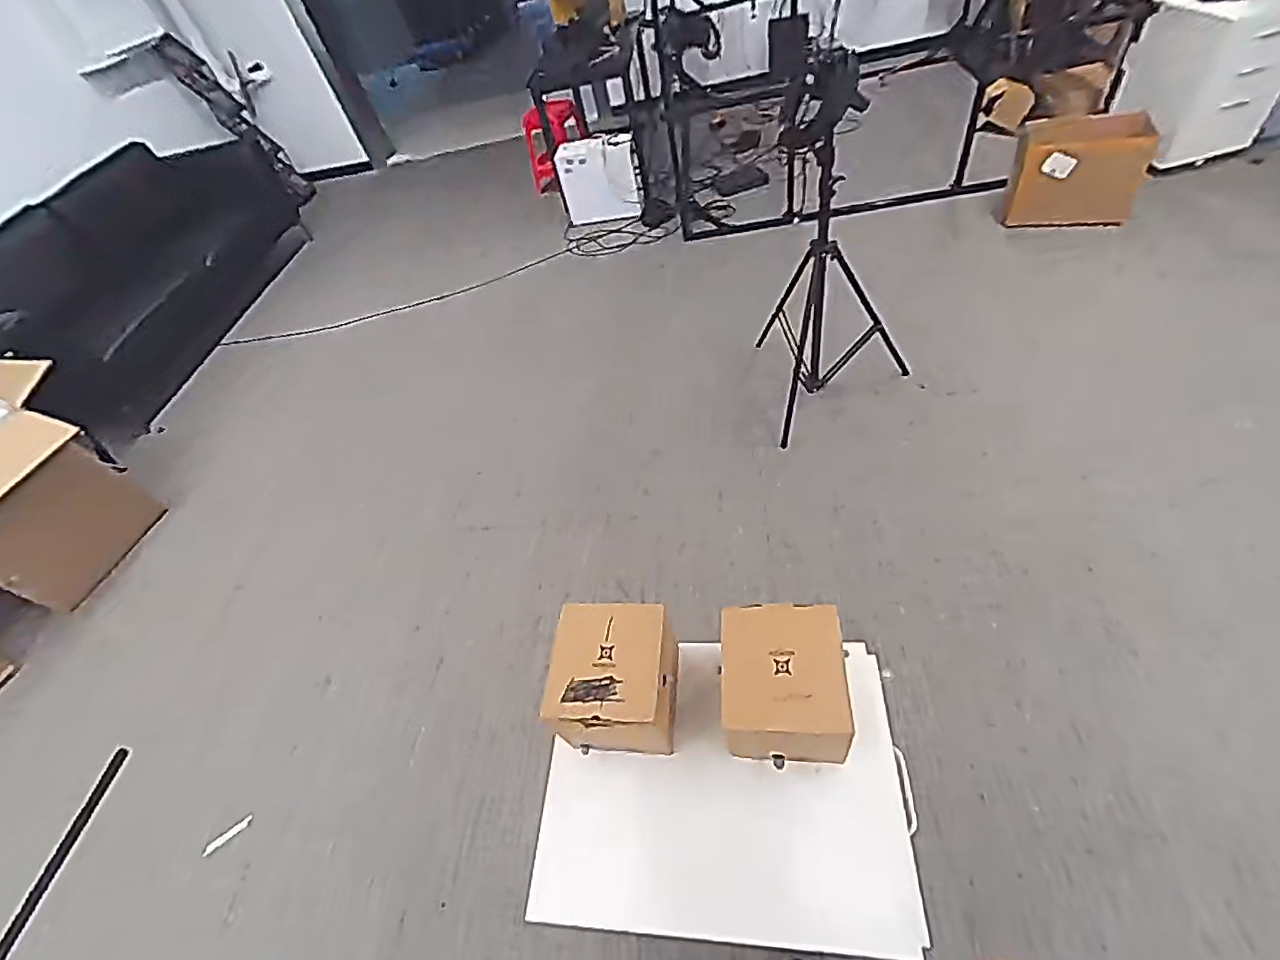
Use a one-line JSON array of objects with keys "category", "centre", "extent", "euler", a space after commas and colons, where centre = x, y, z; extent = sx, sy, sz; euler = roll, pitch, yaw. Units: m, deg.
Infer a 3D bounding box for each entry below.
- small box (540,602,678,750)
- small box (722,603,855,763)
[{"category": "small box", "centre": [-0.036, 0.307, 0.842], "extent": [0.168, 0.176, 0.179], "euler": [-2, 50, 12]}, {"category": "small box", "centre": [0.209, 0.297, 0.791], "extent": [0.168, 0.176, 0.179], "euler": [-5, 52, 13]}]
